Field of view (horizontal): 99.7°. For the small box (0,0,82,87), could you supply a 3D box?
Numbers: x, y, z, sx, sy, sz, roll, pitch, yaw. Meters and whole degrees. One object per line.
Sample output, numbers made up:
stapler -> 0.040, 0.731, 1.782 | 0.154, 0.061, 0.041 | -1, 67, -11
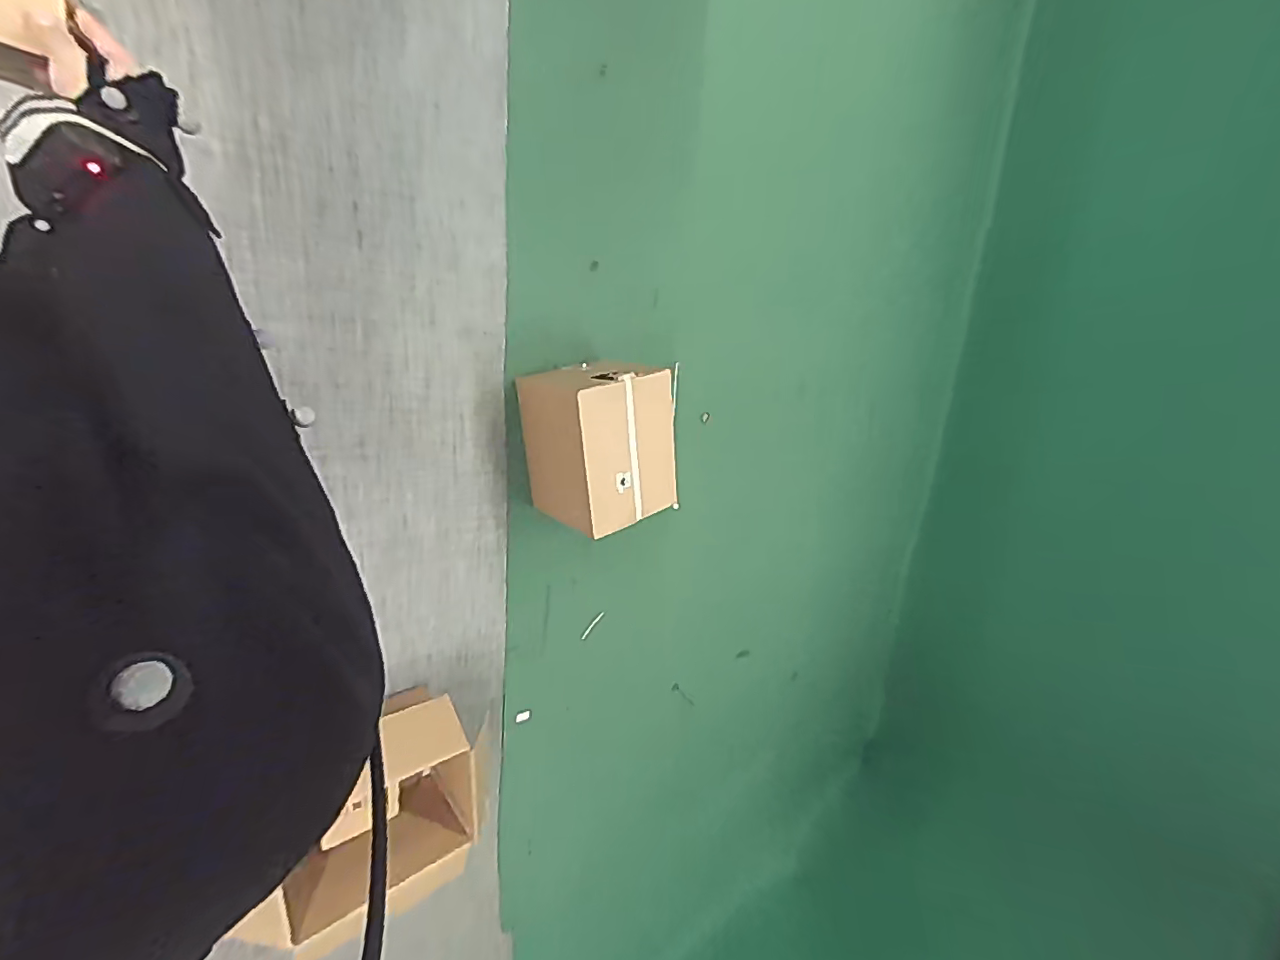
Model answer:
small box -> -0.528, -0.413, 0.381 | 0.179, 0.176, 0.168 | -3, 110, -43
